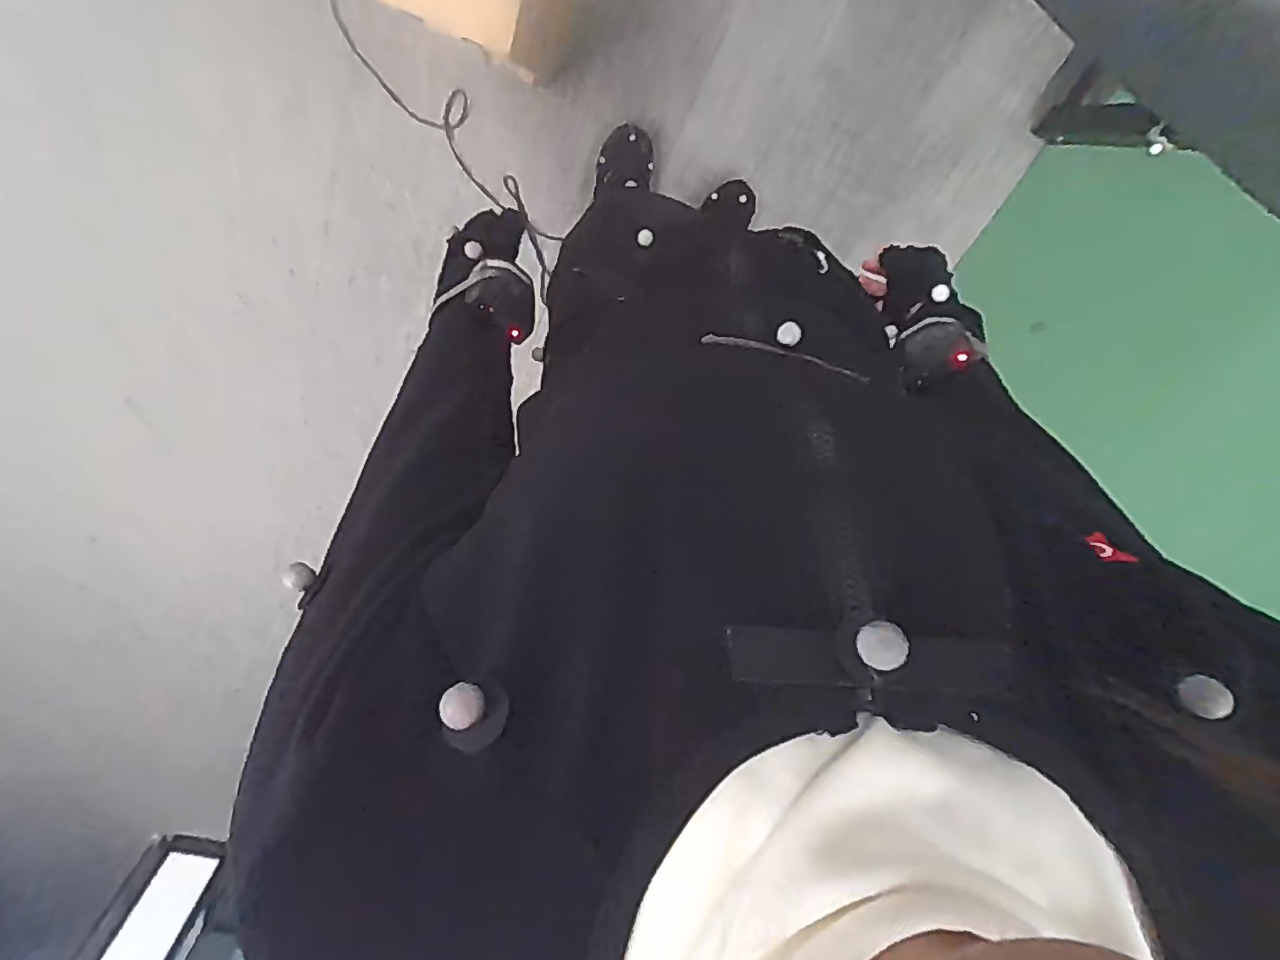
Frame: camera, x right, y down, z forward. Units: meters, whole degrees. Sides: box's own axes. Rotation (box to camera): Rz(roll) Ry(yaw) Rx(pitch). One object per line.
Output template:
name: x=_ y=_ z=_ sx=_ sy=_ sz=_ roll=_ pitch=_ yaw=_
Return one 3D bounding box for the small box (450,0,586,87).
small box: x=-0.205 y=-0.835 z=0.953 sx=0.168 sy=0.176 sz=0.179 roll=29 pitch=120 yaw=-17
